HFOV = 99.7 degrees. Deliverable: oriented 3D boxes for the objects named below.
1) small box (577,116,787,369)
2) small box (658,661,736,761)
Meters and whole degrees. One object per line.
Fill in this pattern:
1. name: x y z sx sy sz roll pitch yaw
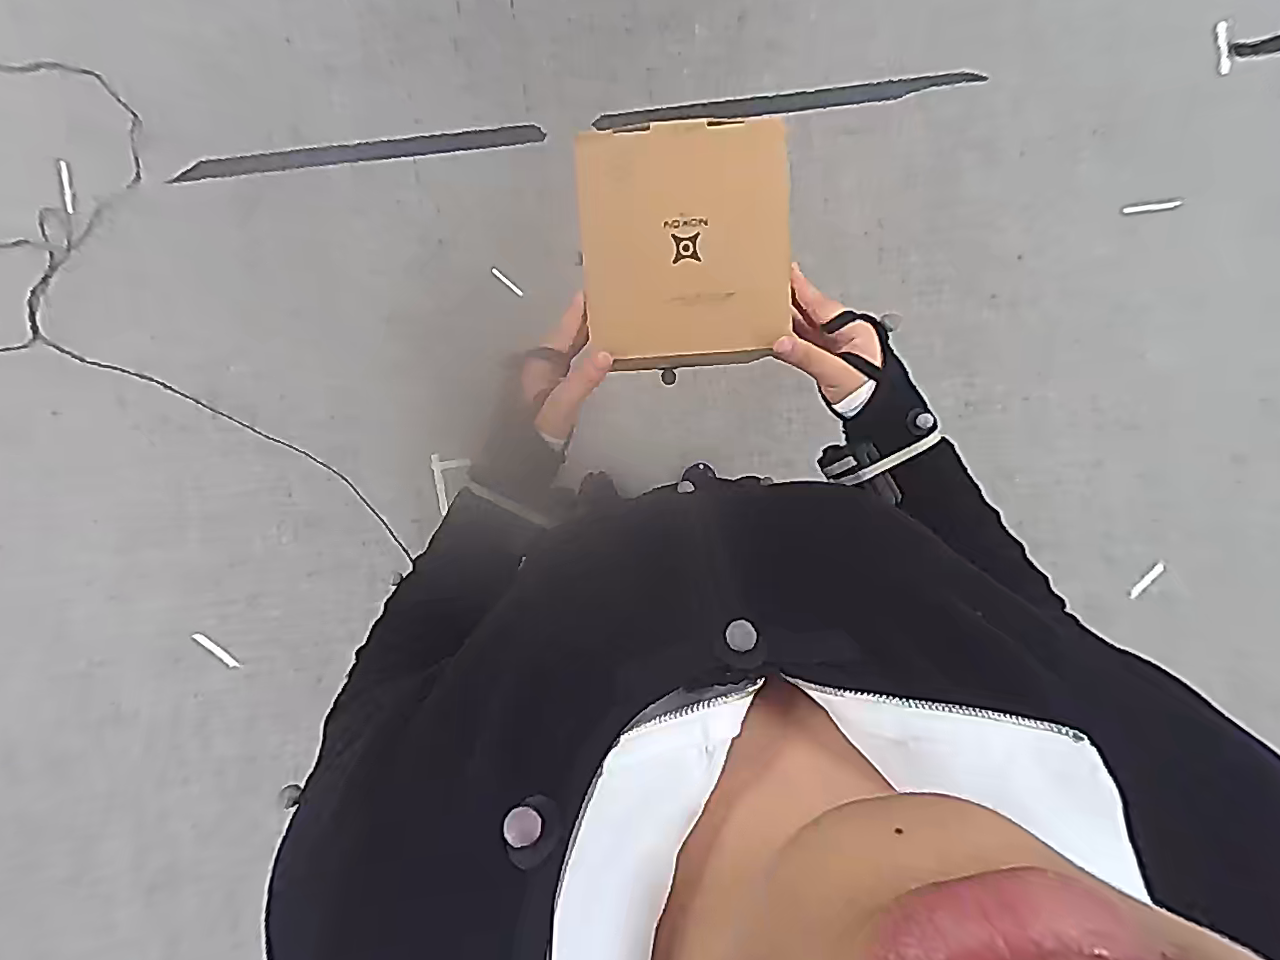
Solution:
1. small box: 0.034 -0.203 0.508 0.168 0.176 0.179 -4 98 0
2. small box: 0.135 0.560 1.340 0.168 0.176 0.179 -6 92 0
